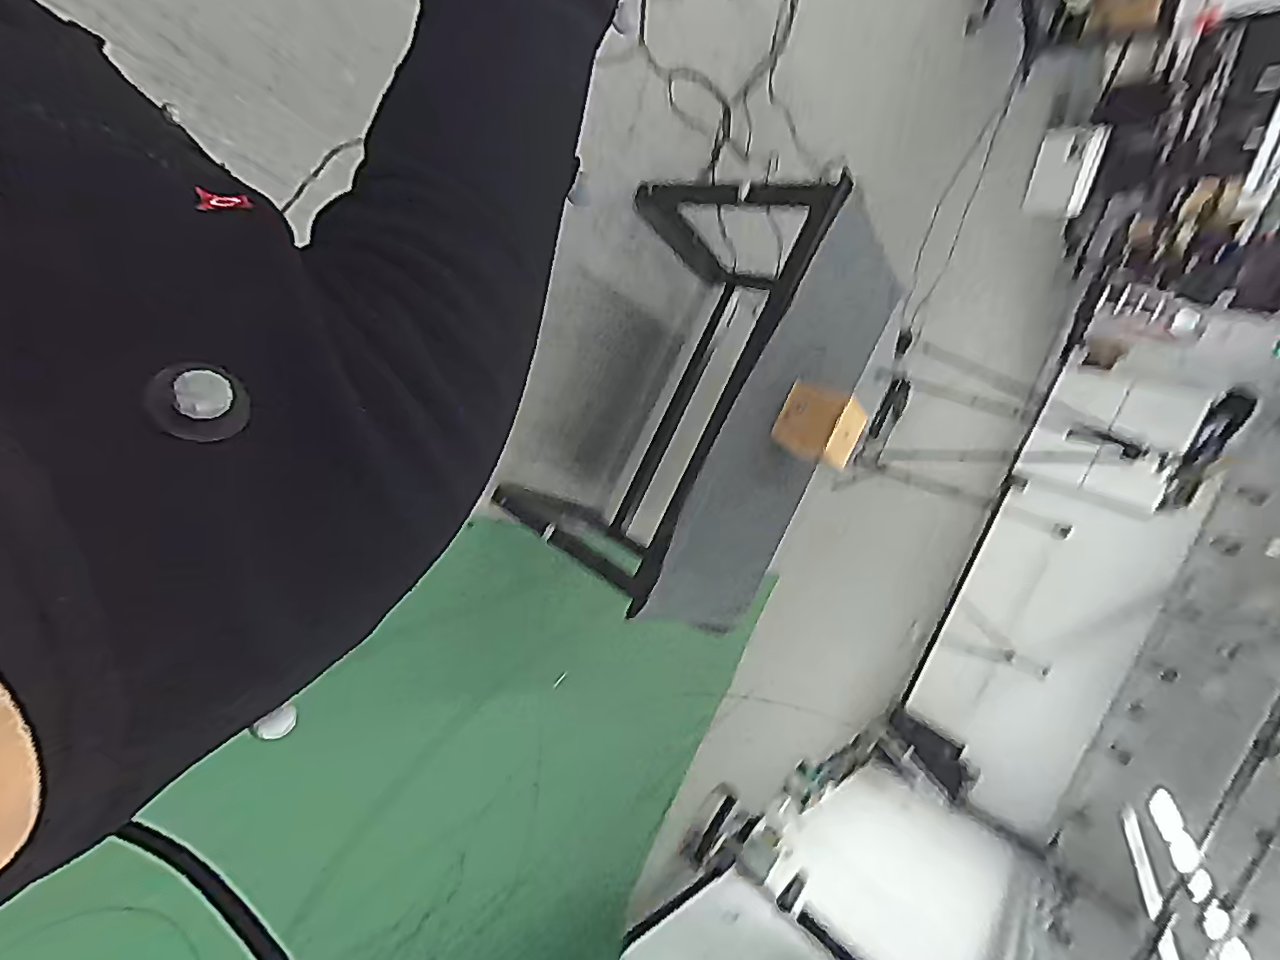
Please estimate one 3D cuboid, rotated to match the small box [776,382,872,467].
[{"bbox_3d":[0.511,-0.157,1.507,0.179,0.176,0.168,24,93,-50],"label":"small box"}]
